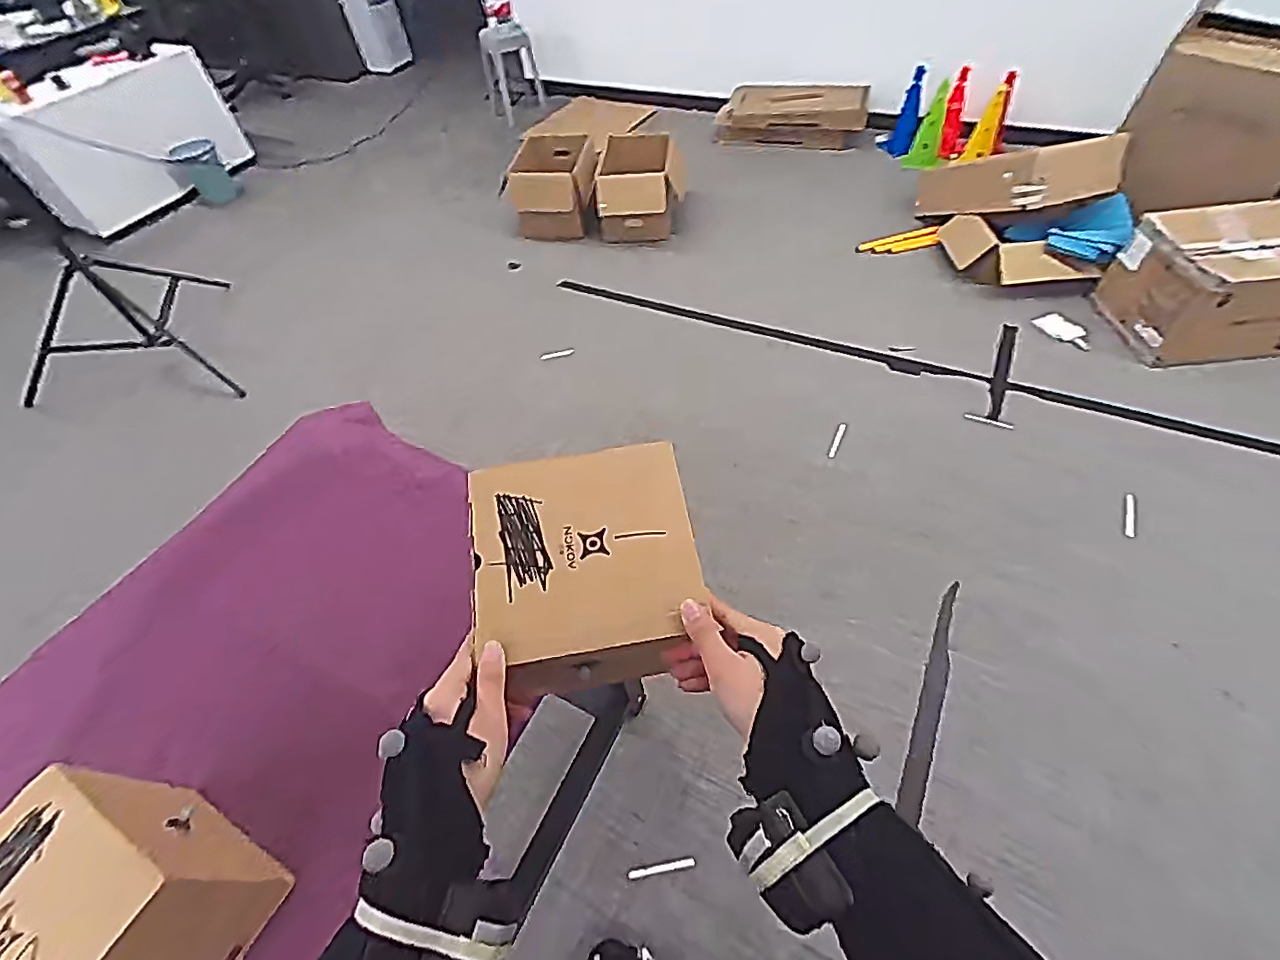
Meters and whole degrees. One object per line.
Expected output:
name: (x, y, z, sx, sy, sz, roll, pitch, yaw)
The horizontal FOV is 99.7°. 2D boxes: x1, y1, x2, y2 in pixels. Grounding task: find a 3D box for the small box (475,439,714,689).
small box: (-0.040, 0.085, 0.496, 0.179, 0.176, 0.168, -8, 62, -4)
